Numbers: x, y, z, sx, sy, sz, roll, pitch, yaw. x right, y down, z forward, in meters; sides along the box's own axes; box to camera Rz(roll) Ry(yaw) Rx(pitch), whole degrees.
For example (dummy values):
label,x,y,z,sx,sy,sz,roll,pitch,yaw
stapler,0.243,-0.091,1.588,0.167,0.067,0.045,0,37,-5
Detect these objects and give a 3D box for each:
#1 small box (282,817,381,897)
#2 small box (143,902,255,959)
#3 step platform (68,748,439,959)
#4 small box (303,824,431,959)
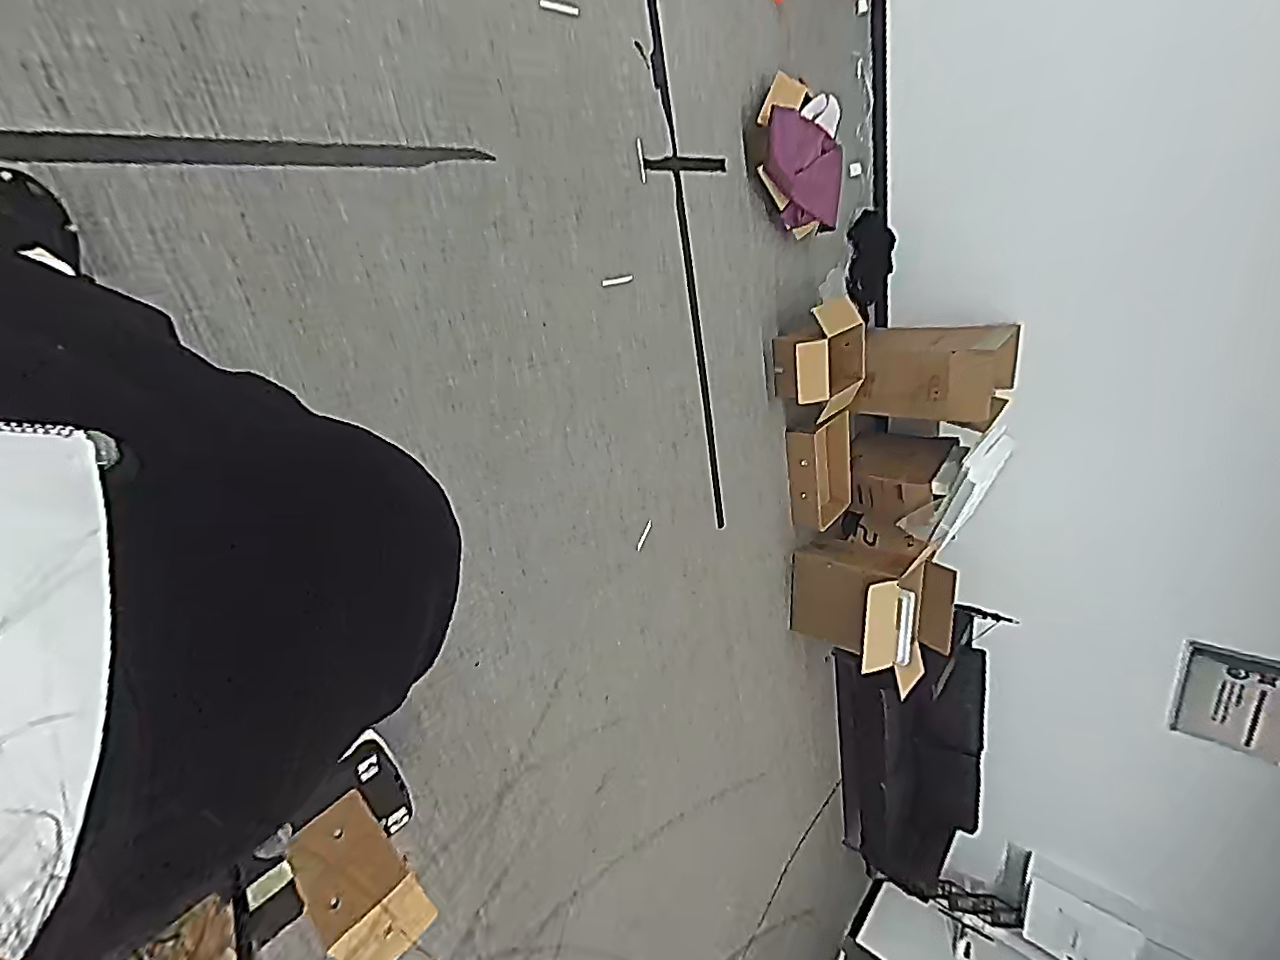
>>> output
label,x,y,z,sx,sy,sz,roll,pitch,yaw
small box,-0.704,0.872,1.264,0.179,0.176,0.168,-33,121,-38
small box,-0.897,0.990,1.083,0.168,0.176,0.179,-33,120,-39
step platform,-0.791,0.908,1.127,0.684,0.204,0.286,-31,120,-38
small box,-0.586,0.894,1.153,0.179,0.176,0.168,-34,122,-37
